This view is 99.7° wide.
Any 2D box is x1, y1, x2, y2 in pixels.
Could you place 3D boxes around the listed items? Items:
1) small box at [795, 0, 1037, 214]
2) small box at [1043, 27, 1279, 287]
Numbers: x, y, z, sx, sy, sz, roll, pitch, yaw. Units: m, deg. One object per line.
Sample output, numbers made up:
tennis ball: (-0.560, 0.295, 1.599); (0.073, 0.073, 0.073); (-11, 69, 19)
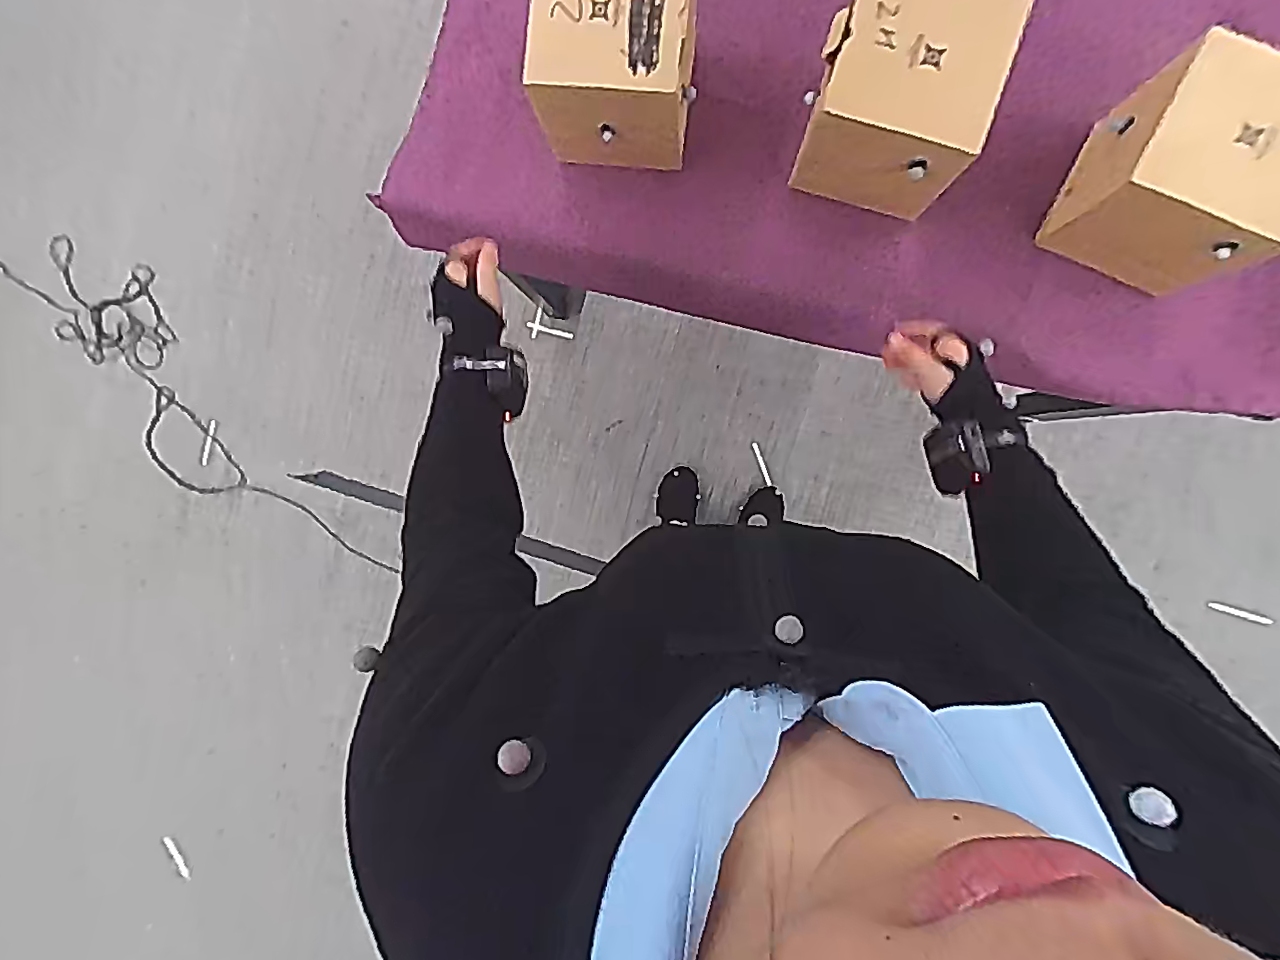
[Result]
small box: (0.305, -0.444, 0.640); (0.179, 0.176, 0.168); (18, 94, 4)
small box: (0.619, -0.345, 0.616); (0.179, 0.176, 0.168); (26, 95, 4)
